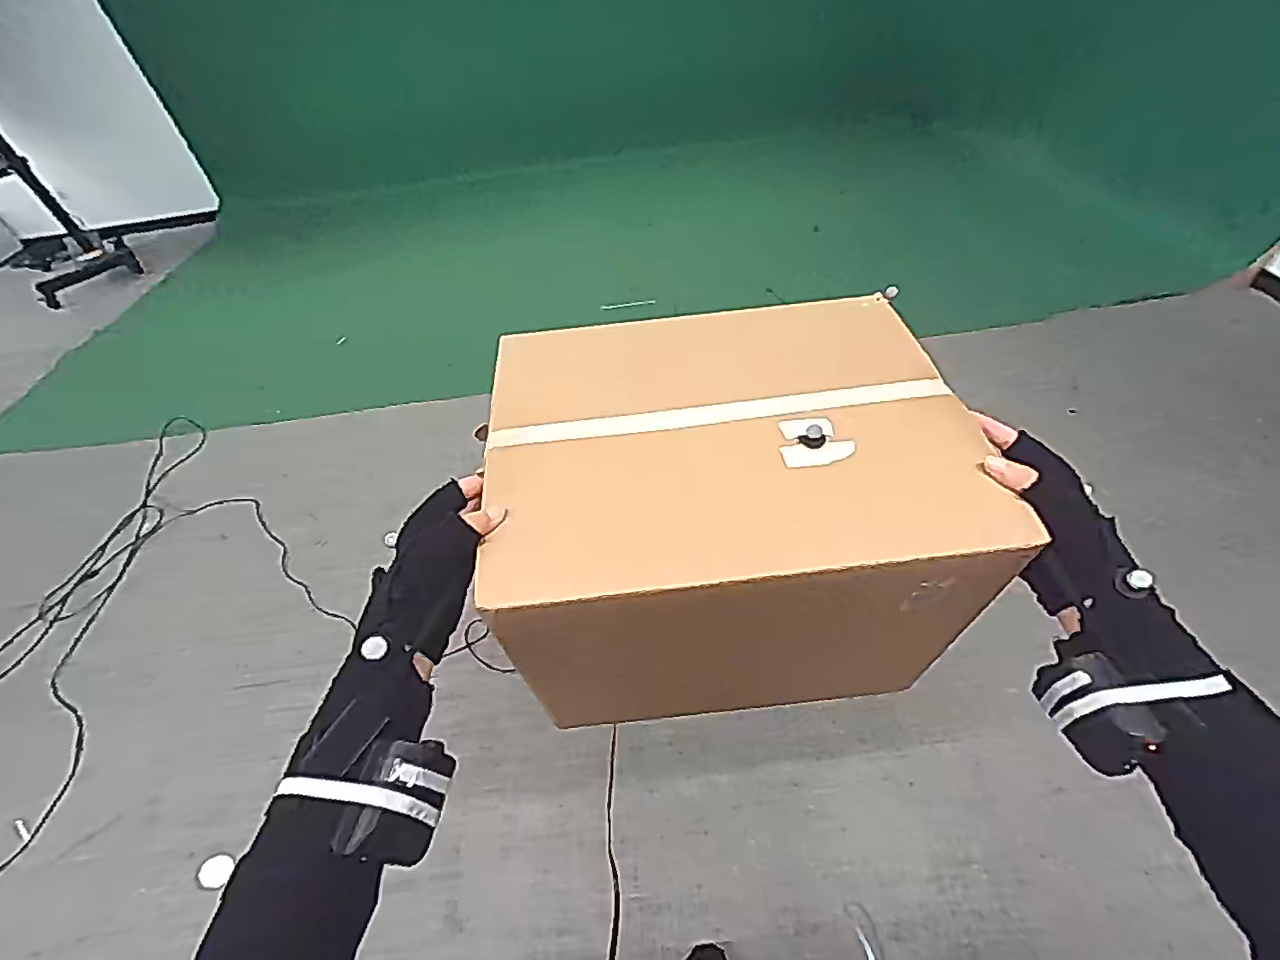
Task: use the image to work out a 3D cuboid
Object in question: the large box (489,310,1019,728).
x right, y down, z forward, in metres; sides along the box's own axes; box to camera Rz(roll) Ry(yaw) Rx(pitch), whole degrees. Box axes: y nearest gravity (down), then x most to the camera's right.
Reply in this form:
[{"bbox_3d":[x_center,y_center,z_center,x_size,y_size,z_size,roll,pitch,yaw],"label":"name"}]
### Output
[{"bbox_3d":[0.076,0.049,0.599,0.408,0.320,0.320,-7,51,-2],"label":"large box"}]
